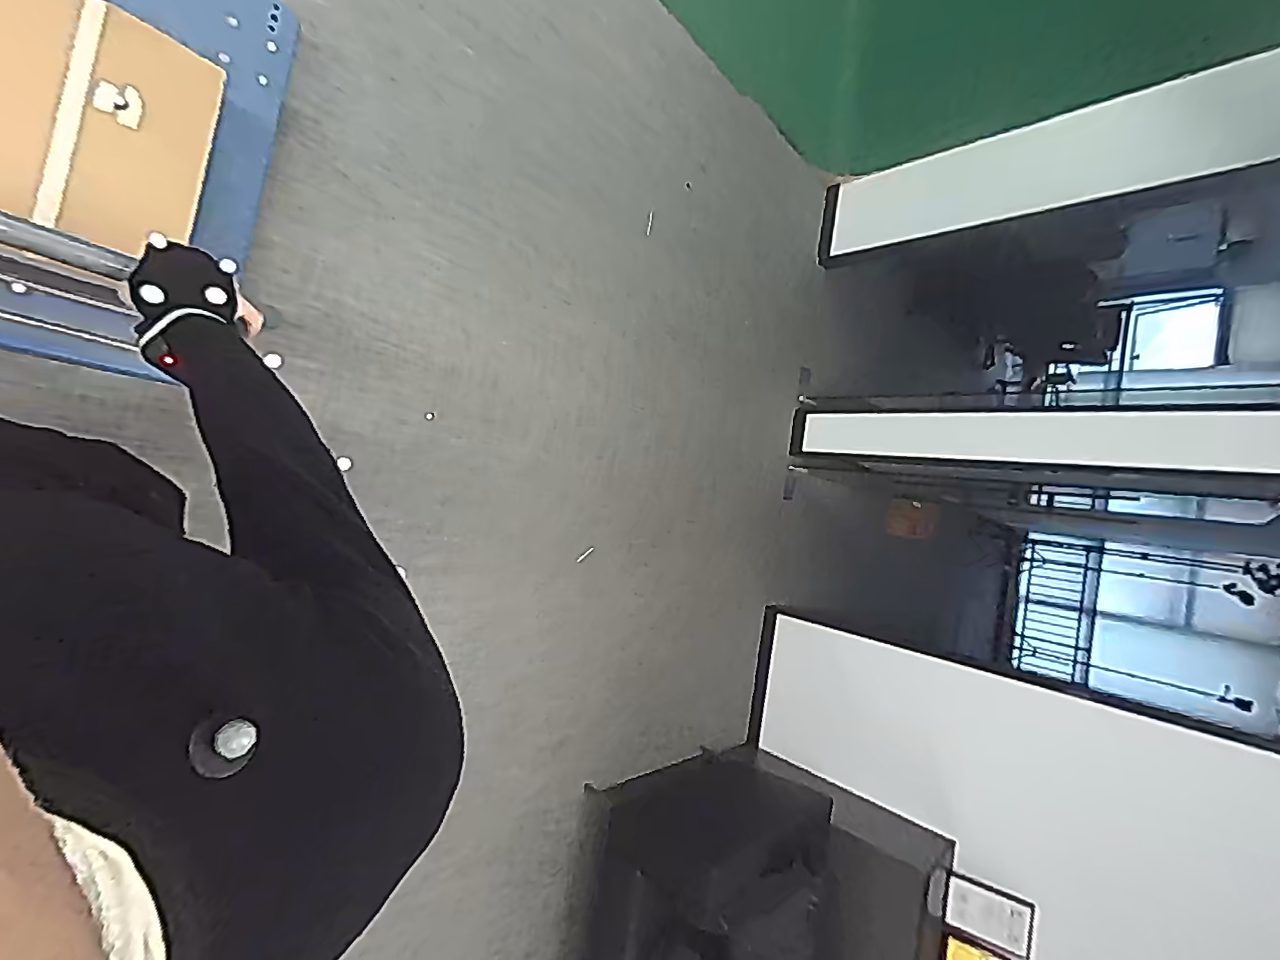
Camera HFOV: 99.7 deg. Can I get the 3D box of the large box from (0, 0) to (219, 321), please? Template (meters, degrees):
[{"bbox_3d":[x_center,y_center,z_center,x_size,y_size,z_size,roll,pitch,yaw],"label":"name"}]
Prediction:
[{"bbox_3d":[-0.942,-0.523,0.888,0.320,0.320,0.408,13,84,-46],"label":"large box"}]
